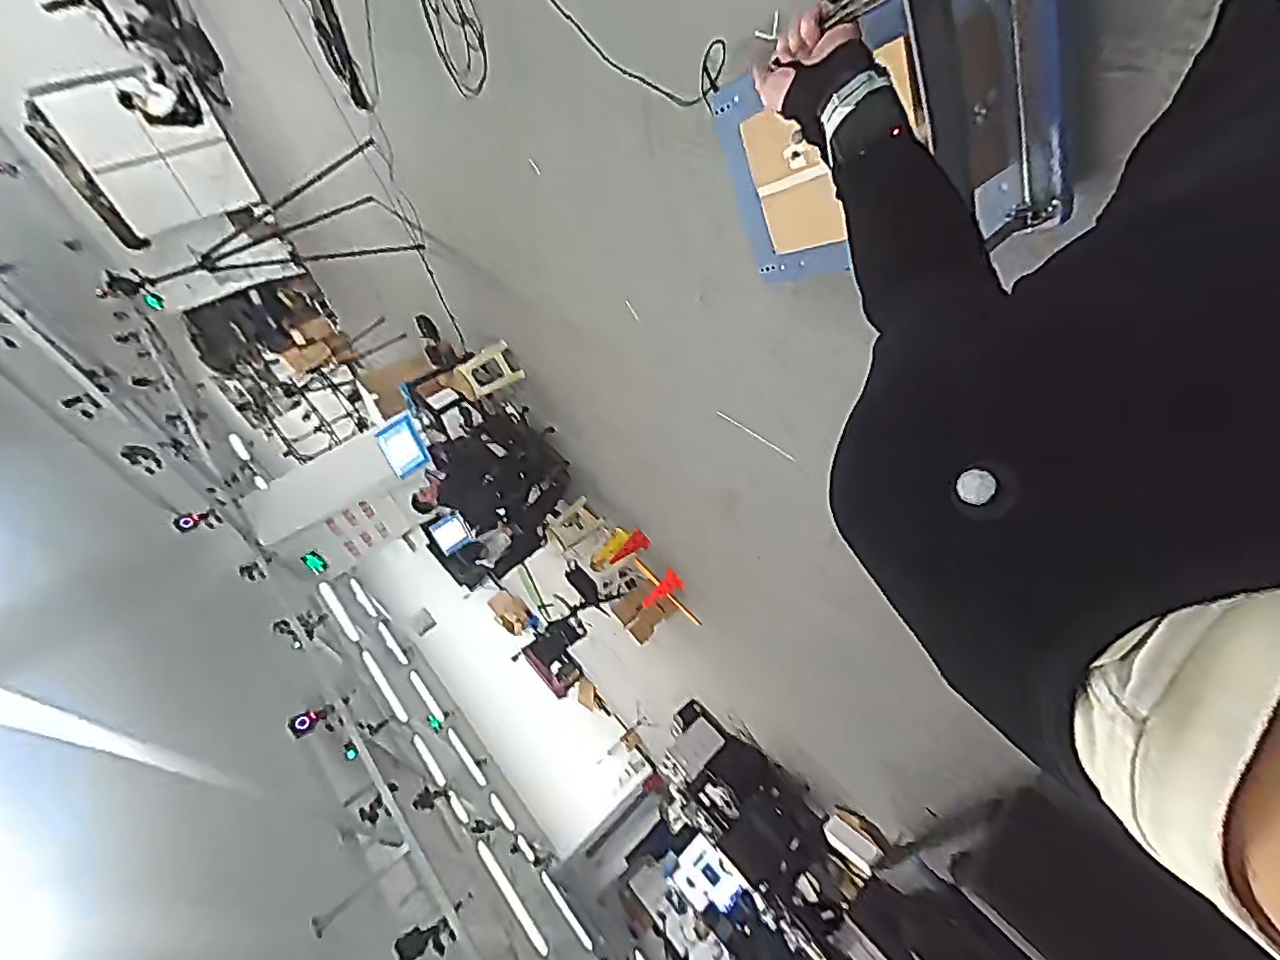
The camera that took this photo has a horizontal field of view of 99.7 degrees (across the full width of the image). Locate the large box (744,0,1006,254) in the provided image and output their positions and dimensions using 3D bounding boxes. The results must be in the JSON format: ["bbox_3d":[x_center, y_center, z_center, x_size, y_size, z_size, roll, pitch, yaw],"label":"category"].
[{"bbox_3d":[0.516,-0.753,1.206,0.408,0.320,0.320,16,136,55],"label":"large box"}]
